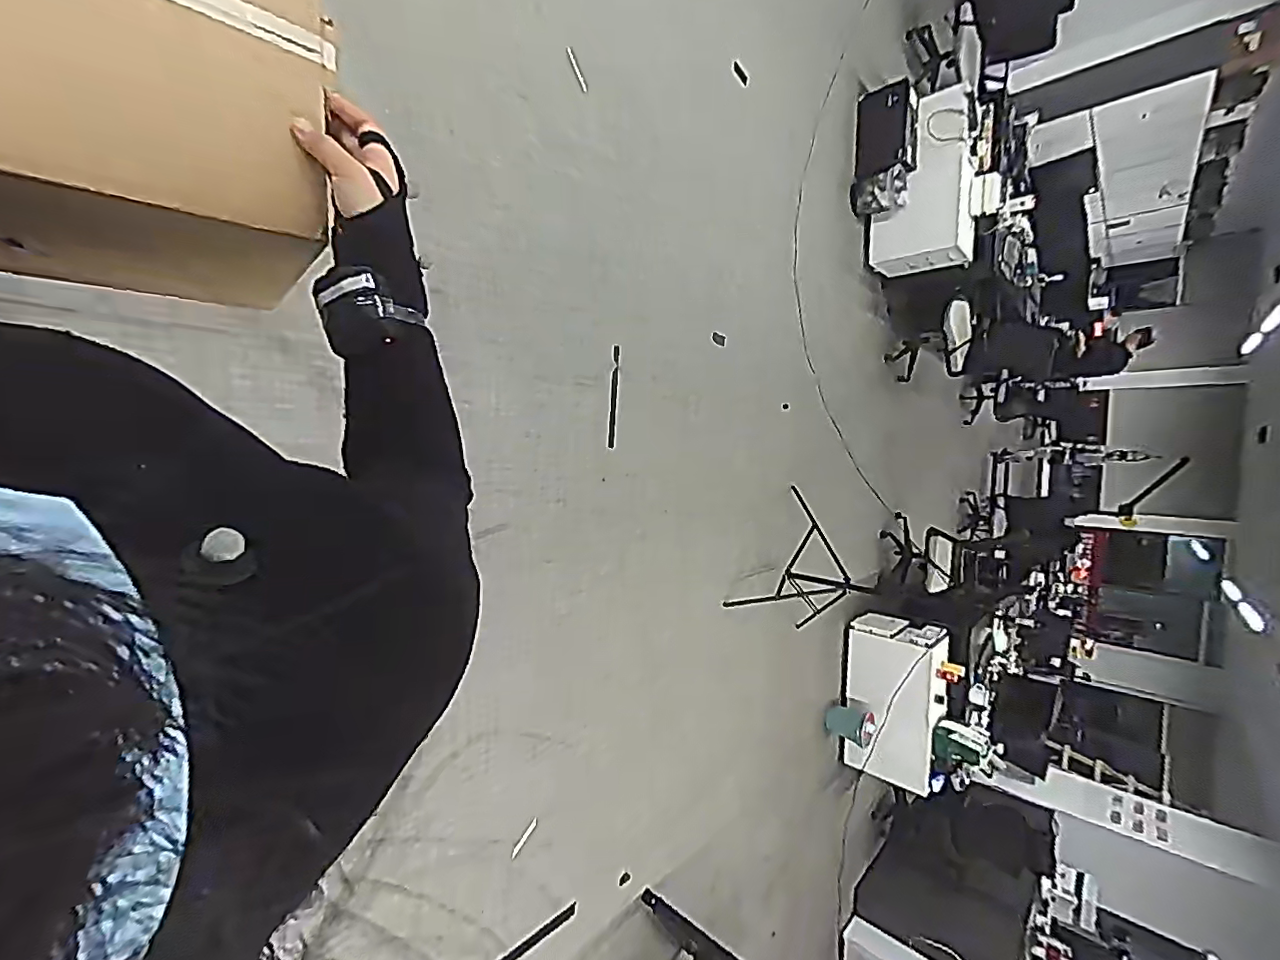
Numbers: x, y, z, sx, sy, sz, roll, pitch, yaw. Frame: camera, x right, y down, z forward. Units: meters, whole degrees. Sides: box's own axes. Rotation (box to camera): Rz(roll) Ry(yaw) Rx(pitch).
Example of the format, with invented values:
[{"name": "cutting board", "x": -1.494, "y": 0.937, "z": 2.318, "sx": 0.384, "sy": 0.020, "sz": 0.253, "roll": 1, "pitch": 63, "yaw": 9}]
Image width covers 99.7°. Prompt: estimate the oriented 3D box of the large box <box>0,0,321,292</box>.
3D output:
[{"name": "large box", "x": -0.525, "y": -0.369, "z": 0.443, "sx": 0.408, "sy": 0.320, "sz": 0.320, "roll": -3, "pitch": 94, "yaw": -41}]
